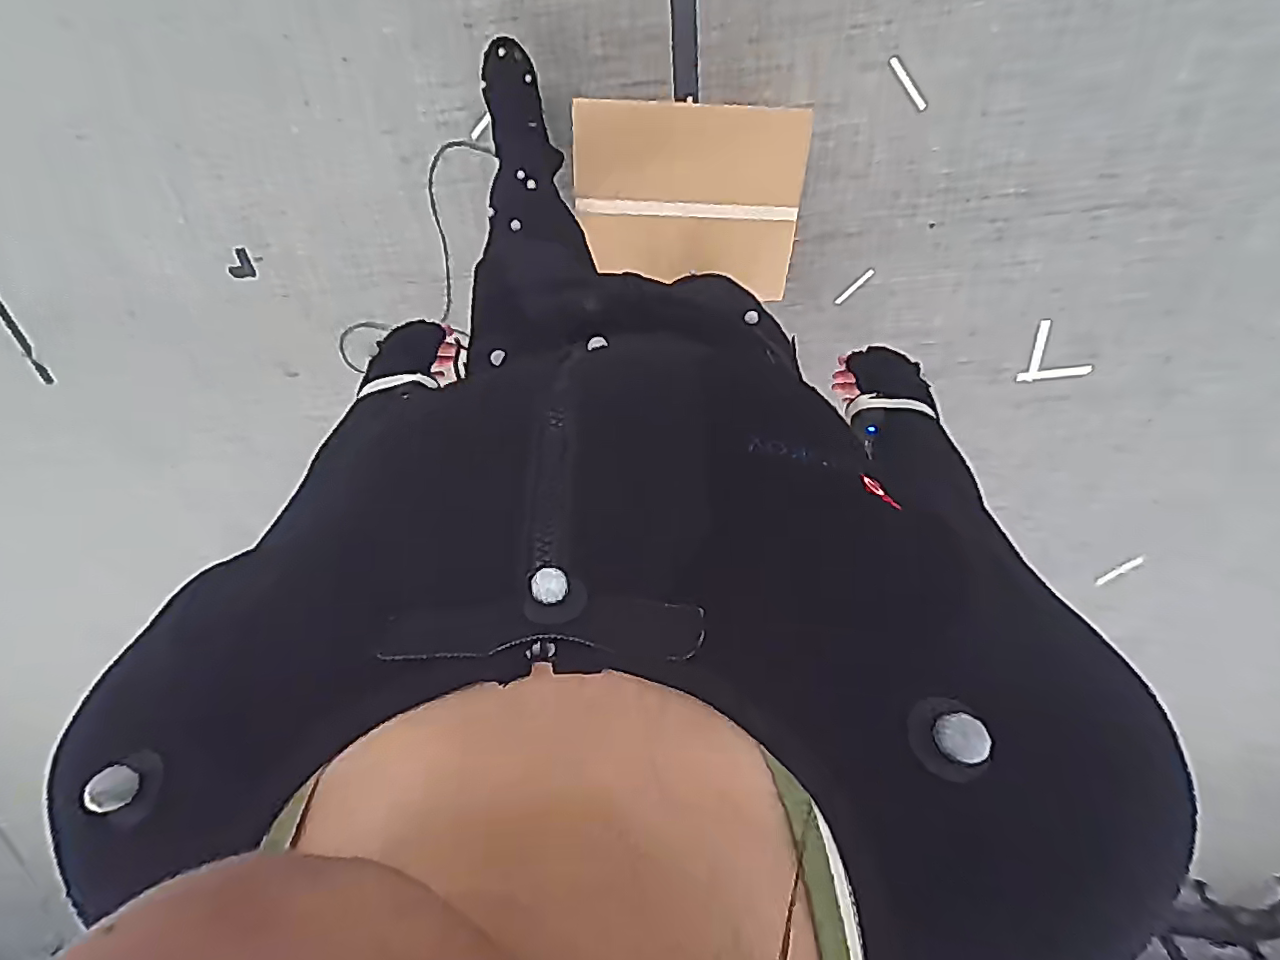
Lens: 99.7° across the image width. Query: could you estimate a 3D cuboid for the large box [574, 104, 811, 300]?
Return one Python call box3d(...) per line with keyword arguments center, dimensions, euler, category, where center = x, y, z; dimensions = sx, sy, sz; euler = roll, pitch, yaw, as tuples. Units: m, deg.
box3d(center=(0.091, -0.570, 1.101), dimensions=(0.408, 0.320, 0.320), euler=(3, 123, 1), category="large box")
